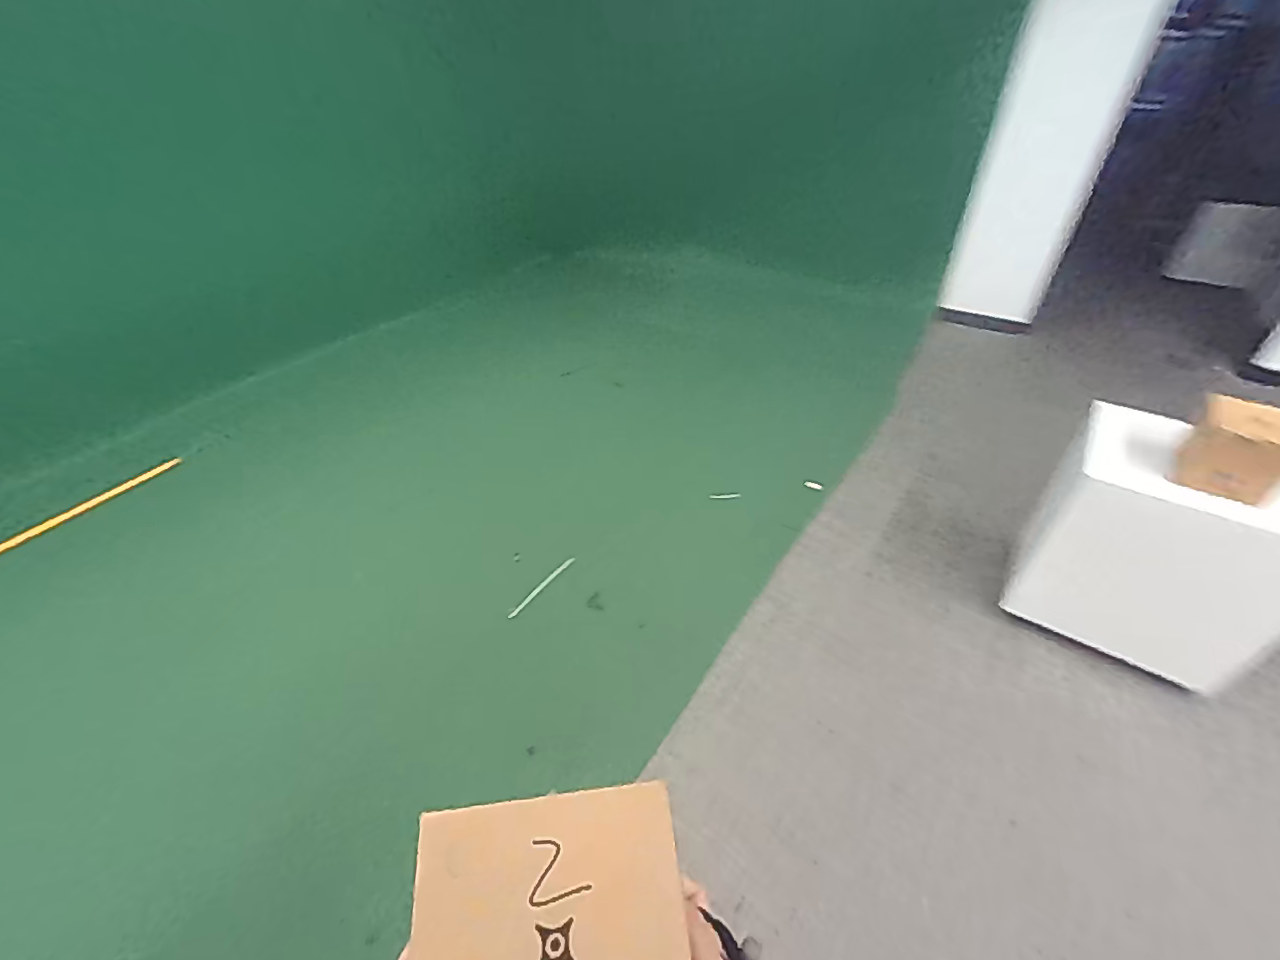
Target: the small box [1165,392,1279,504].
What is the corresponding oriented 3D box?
[{"bbox_3d":[1.385,-0.076,1.272,0.168,0.176,0.179,23,47,29],"label":"small box"}]
